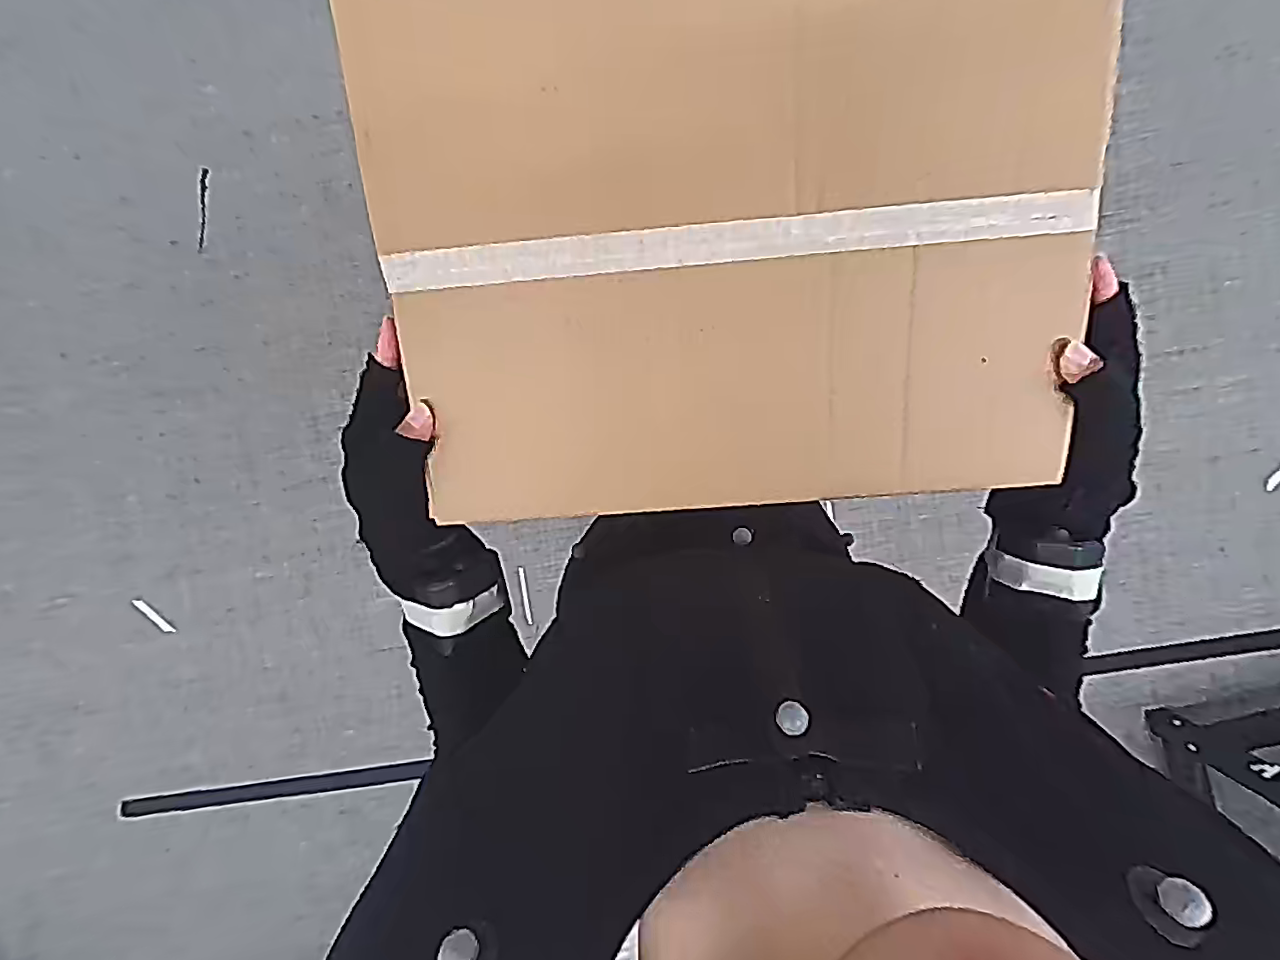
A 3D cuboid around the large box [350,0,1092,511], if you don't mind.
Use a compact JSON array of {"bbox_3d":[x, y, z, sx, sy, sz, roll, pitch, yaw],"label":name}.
[{"bbox_3d":[0.052,-0.179,0.465,0.408,0.320,0.320,-4,106,2],"label":"large box"}]
